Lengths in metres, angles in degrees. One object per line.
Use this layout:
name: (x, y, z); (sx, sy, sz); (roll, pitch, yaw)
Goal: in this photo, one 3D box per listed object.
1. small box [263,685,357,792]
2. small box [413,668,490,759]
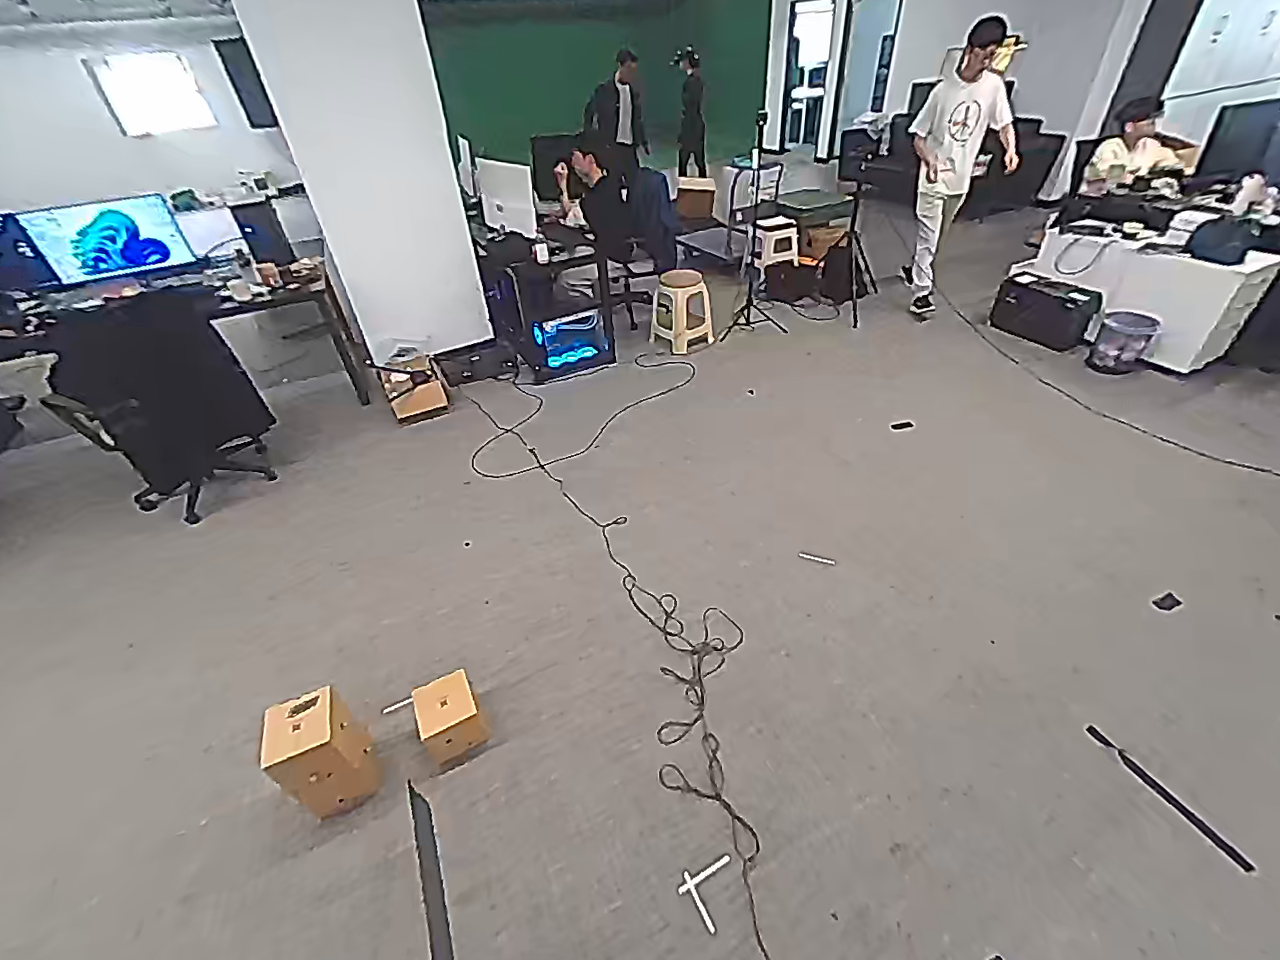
small box: (-0.890, 0.705, 1.474); (0.168, 0.176, 0.179); (-19, 42, -16)
small box: (-0.581, 0.731, 1.677); (0.168, 0.176, 0.179); (-21, 41, -20)
